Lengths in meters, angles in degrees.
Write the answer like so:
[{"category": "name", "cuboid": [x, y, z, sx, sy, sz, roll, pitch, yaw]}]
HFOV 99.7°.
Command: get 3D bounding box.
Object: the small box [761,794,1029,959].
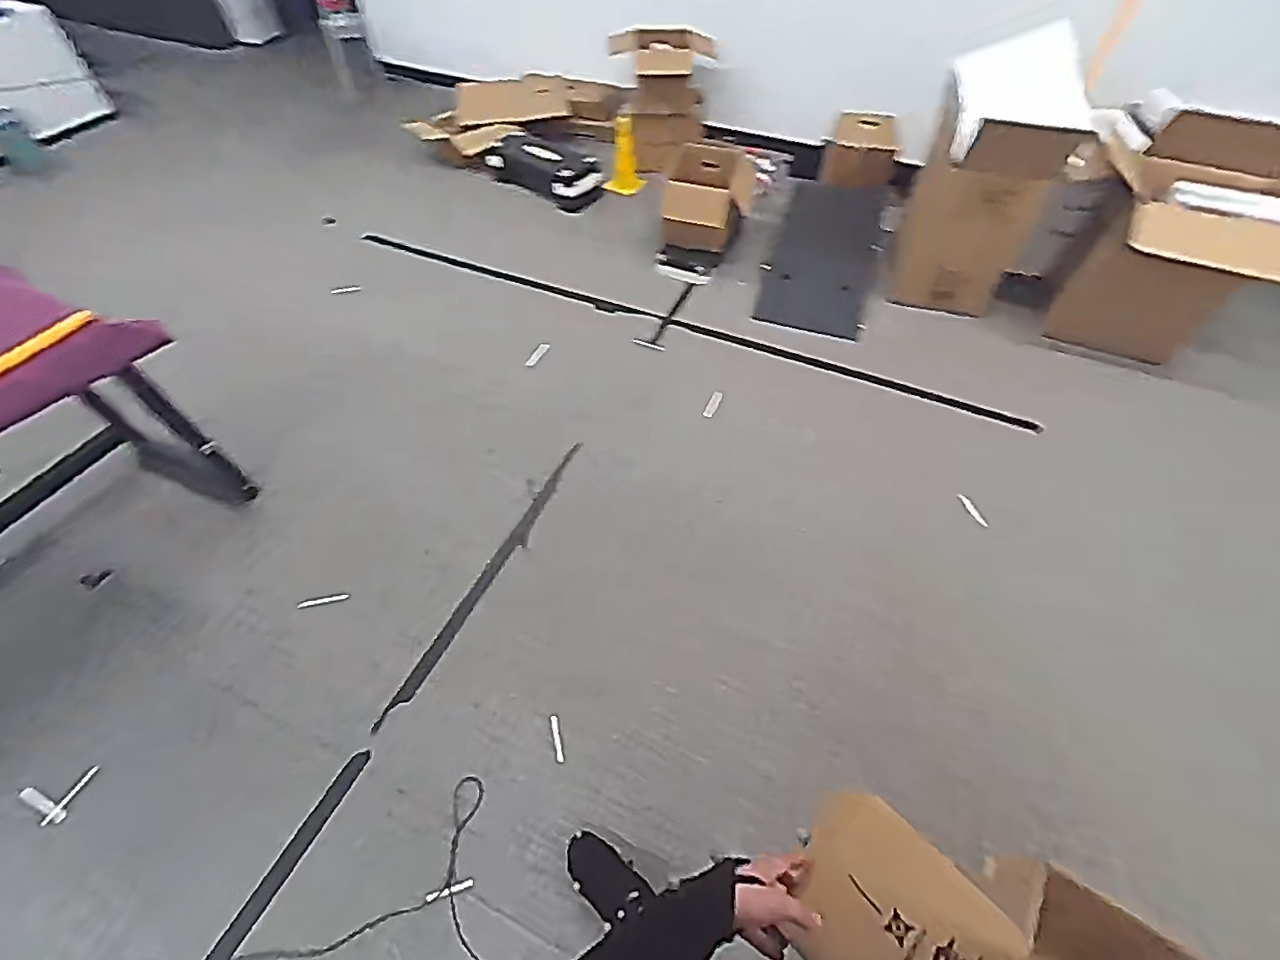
[{"category": "small box", "cuboid": [0.254, 0.468, 0.583, 0.179, 0.176, 0.168, 39, 70, 23]}]
